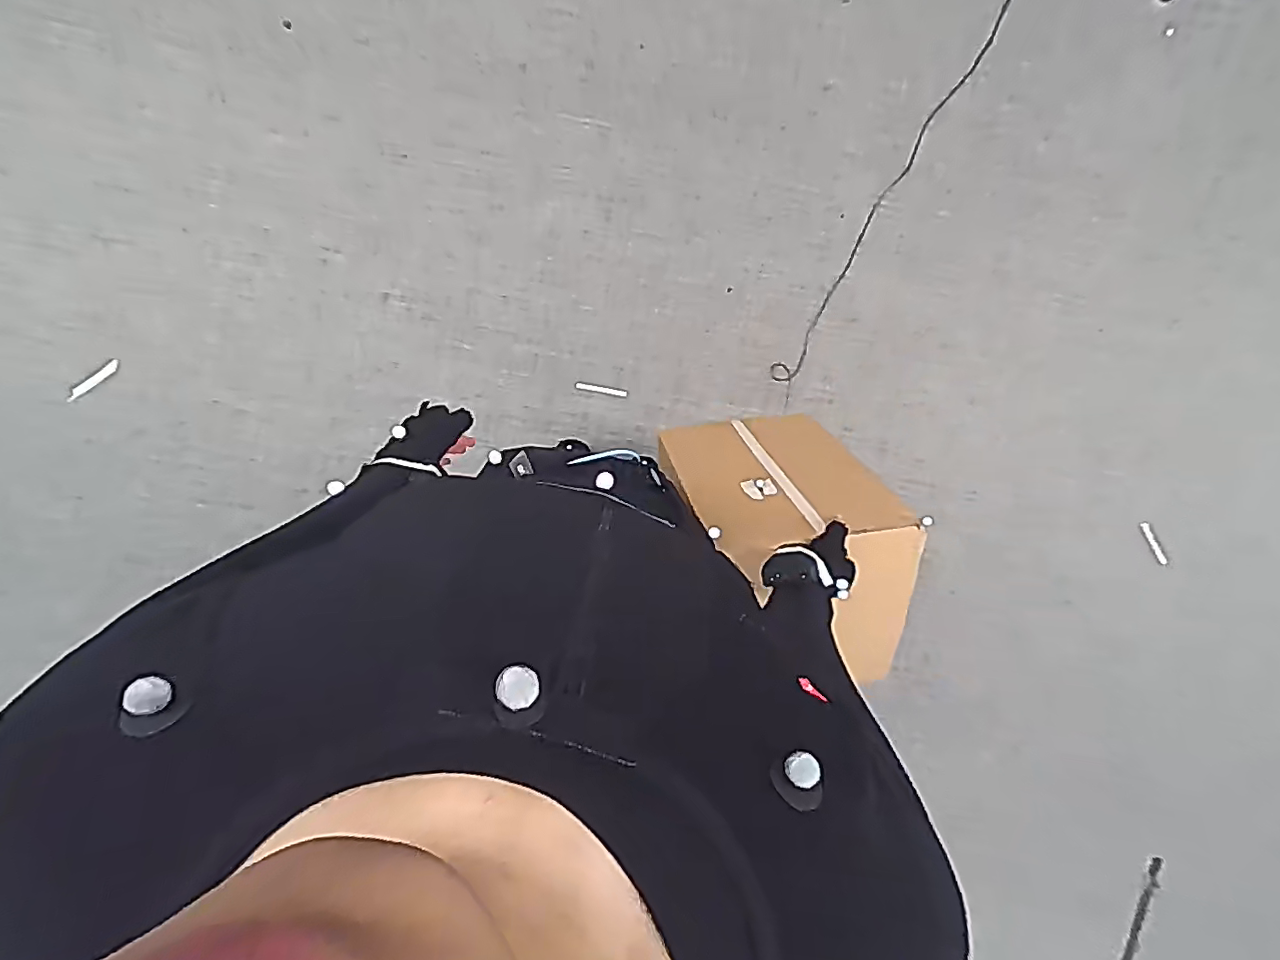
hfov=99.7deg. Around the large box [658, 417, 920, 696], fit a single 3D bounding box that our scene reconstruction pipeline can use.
[{"bbox_3d":[0.223,0.114,0.995,0.320,0.408,0.320,-7,122,-6],"label":"large box"}]
